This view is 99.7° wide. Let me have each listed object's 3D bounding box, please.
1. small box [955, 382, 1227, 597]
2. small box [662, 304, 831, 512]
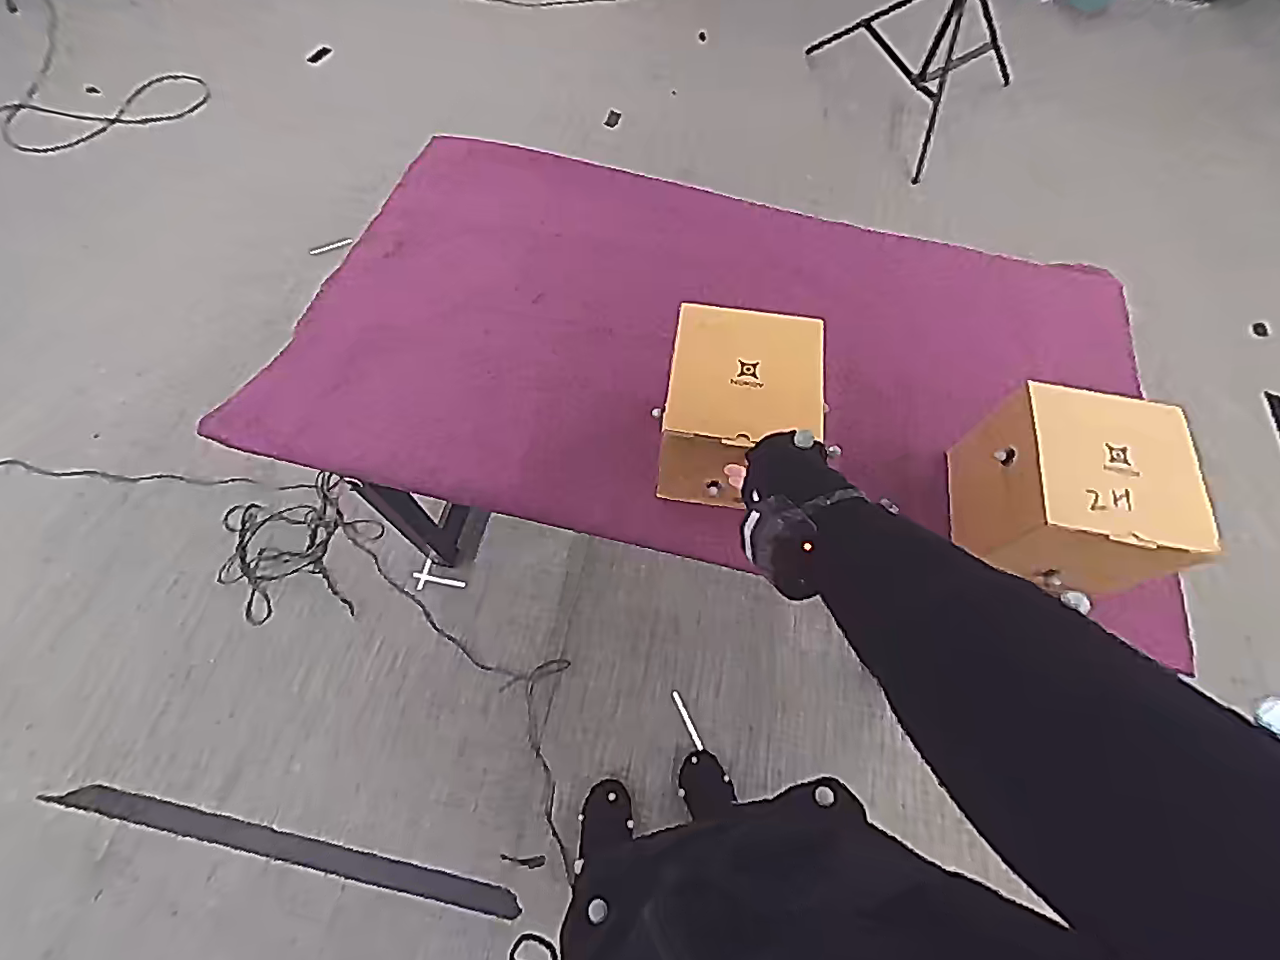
[{"bbox_3d":[0.489,0.018,0.623,0.168,0.176,0.179,11,65,4],"label":"small box"},{"bbox_3d":[0.119,-0.079,0.653,0.168,0.176,0.179,8,66,2],"label":"small box"}]
